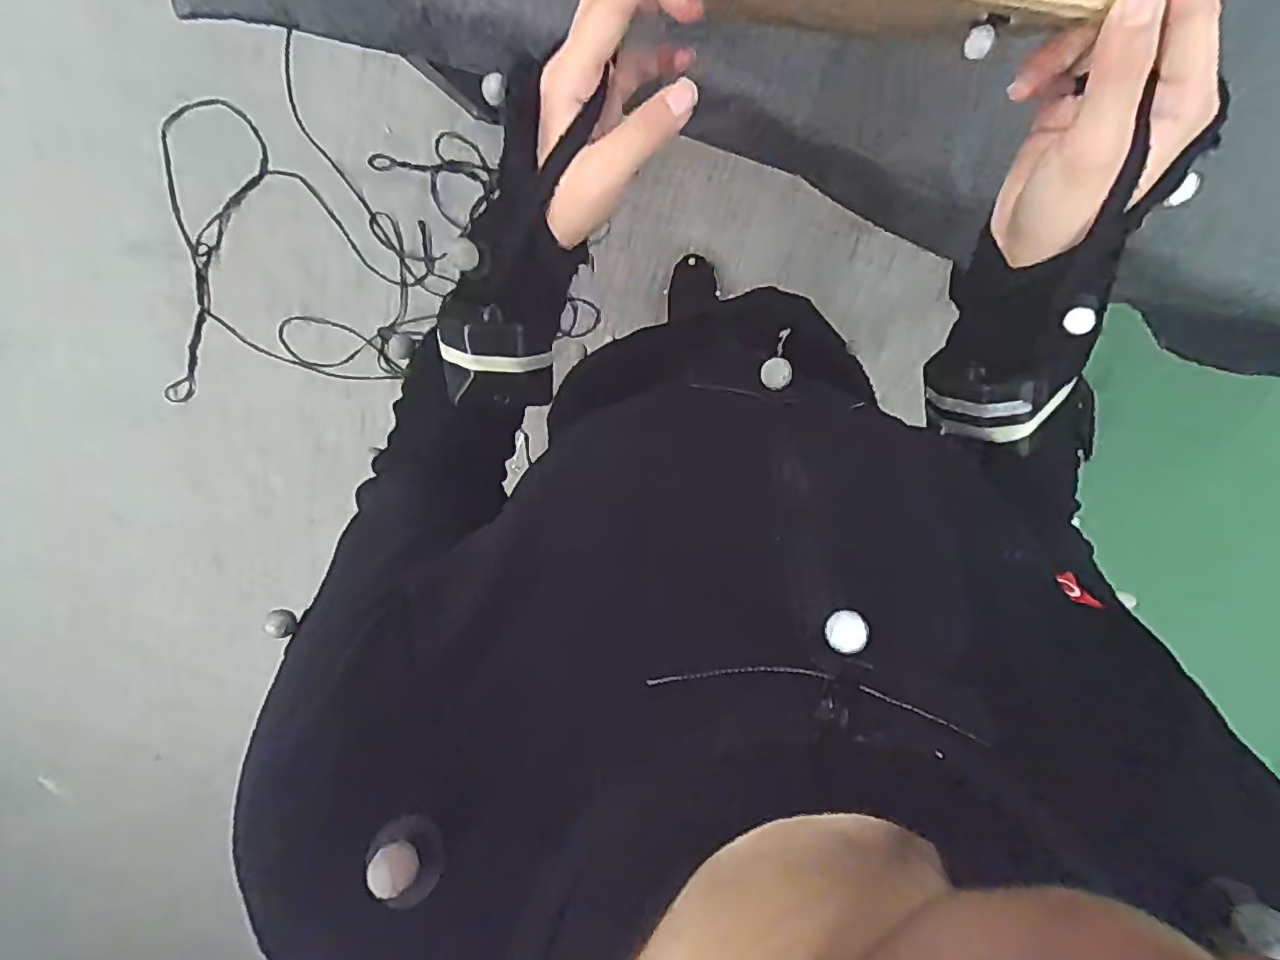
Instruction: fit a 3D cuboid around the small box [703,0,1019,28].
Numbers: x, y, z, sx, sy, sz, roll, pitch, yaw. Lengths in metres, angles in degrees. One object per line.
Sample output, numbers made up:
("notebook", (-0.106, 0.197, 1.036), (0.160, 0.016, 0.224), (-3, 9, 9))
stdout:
("small box", (0.108, -0.301, 0.214), (0.179, 0.176, 0.168), (5, 125, -3))
